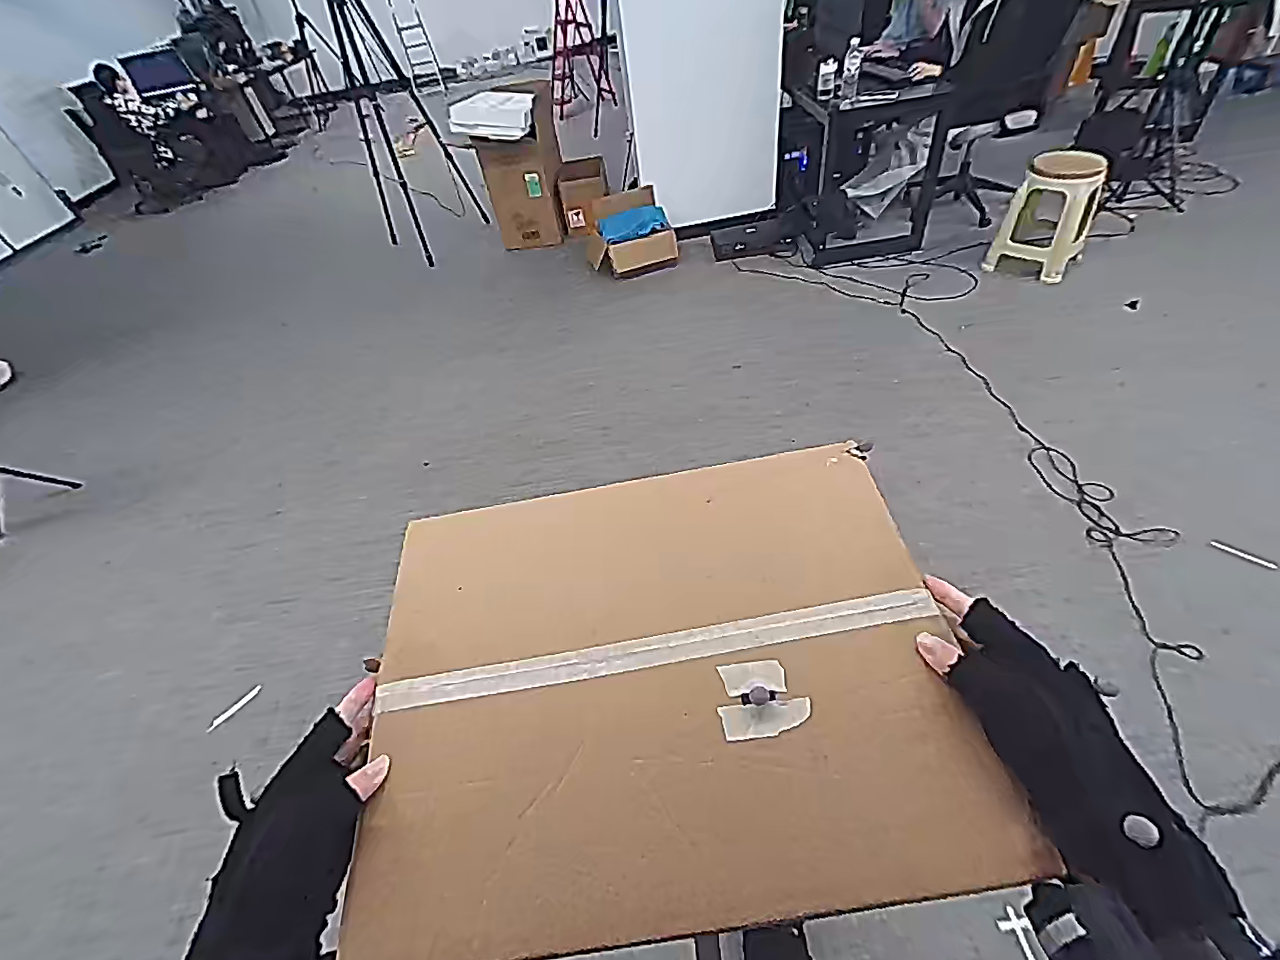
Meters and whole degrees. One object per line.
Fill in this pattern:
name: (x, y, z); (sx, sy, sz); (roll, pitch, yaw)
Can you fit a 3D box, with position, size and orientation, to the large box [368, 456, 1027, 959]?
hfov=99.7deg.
large box: (0.029, 0.221, 0.522); (0.408, 0.320, 0.320); (-10, 52, 1)
